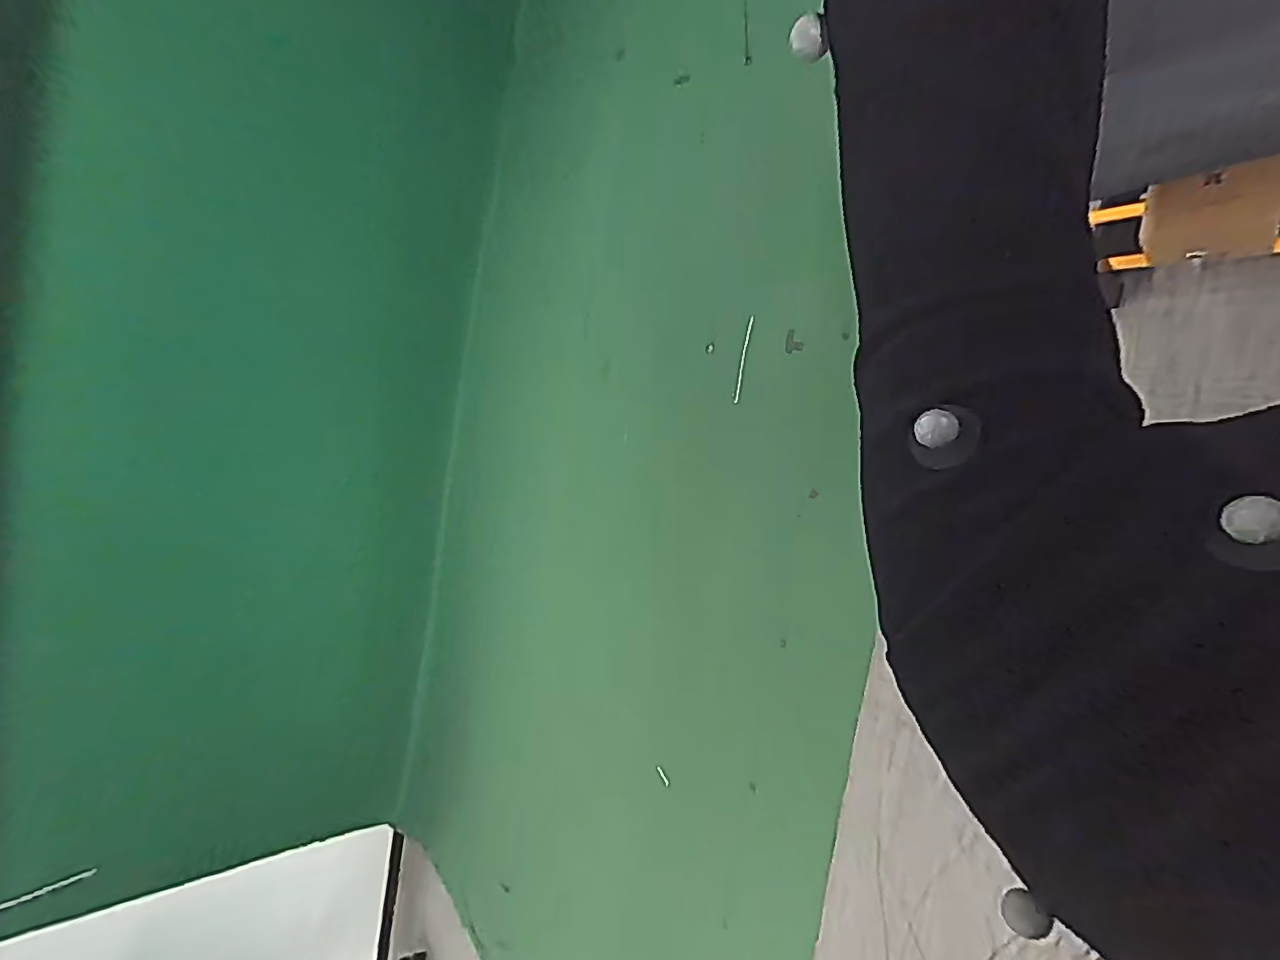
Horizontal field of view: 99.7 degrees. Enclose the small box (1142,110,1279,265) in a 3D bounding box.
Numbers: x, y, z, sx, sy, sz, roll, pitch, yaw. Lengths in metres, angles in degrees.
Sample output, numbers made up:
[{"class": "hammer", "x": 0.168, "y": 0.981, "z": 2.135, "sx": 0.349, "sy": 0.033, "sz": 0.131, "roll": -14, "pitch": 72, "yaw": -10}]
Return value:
[{"class": "small box", "x": 1.026, "y": -0.506, "z": 0.959, "sx": 0.168, "sy": 0.176, "sz": 0.179, "roll": 12, "pitch": 96, "yaw": 49}]
